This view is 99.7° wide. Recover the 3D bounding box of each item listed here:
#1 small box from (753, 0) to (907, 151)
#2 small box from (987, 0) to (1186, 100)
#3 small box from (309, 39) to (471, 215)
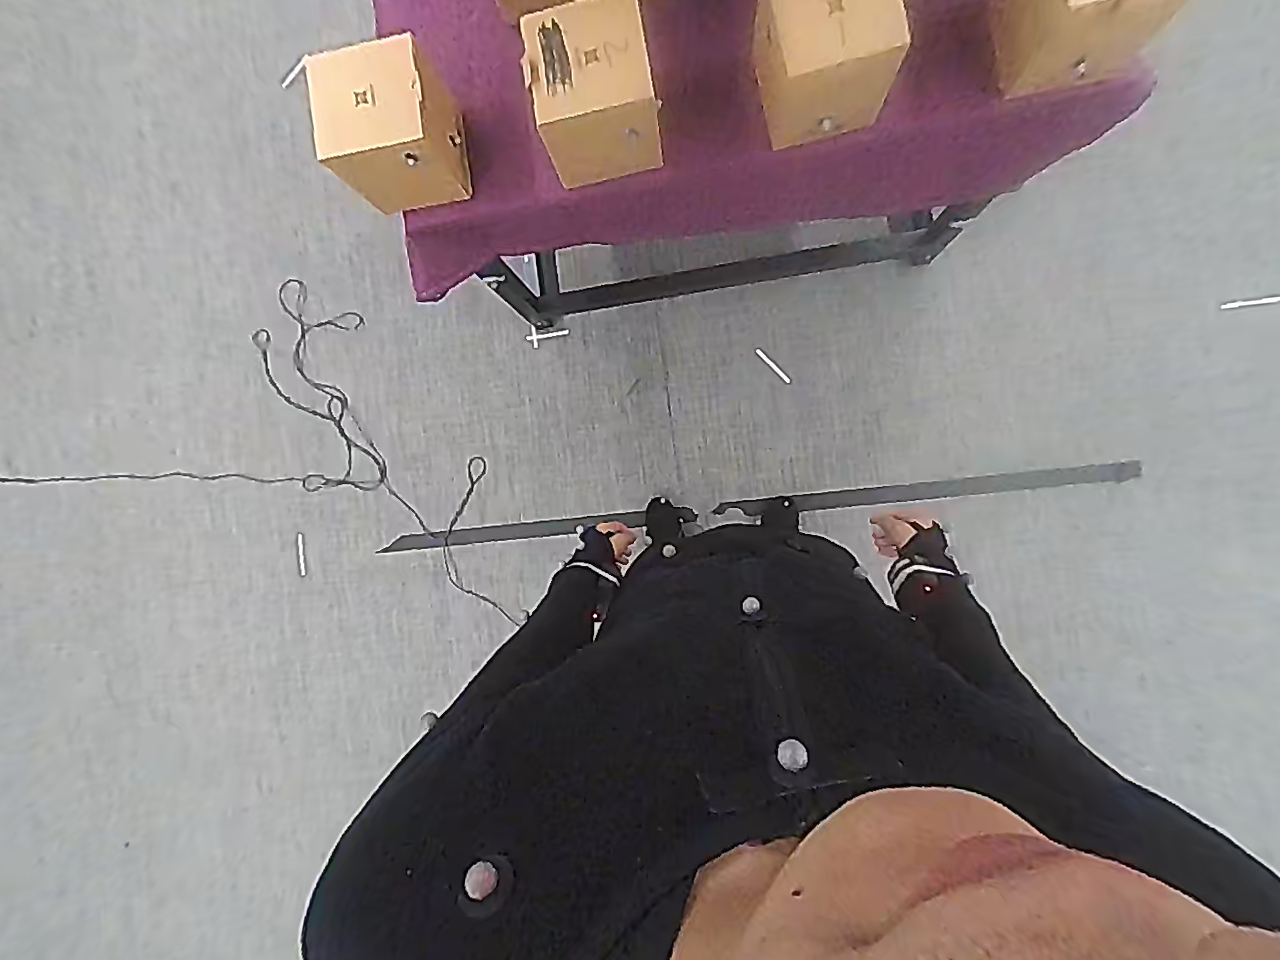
[{"bbox_3d":[0.272,-0.643,0.812,0.168,0.176,0.179,-12,88,7],"label":"small box"},{"bbox_3d":[0.625,-0.695,0.768,0.168,0.176,0.179,-7,88,8],"label":"small box"},{"bbox_3d":[-0.403,-0.565,0.893,0.179,0.176,0.168,-8,88,5],"label":"small box"}]
